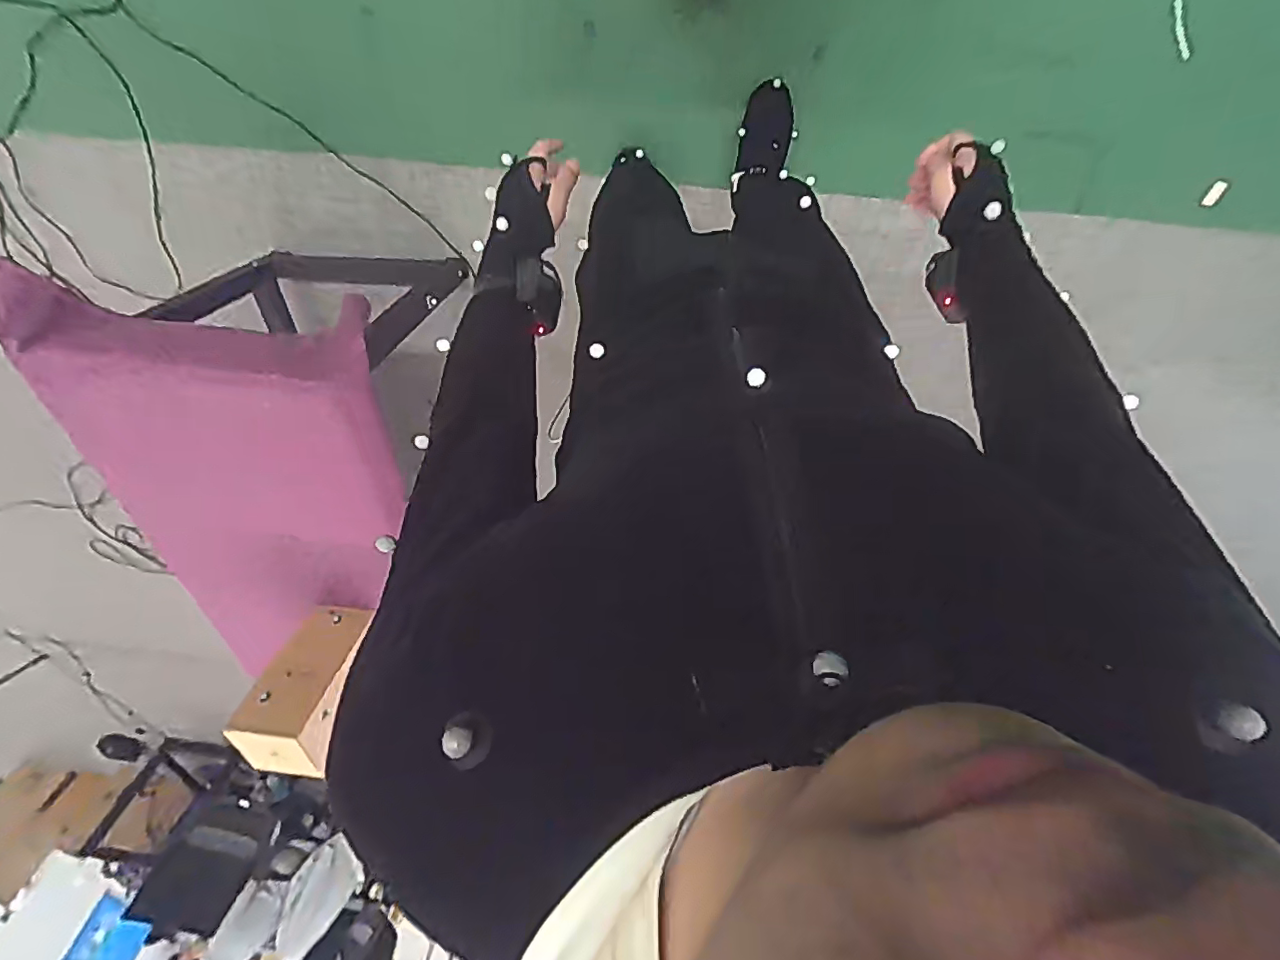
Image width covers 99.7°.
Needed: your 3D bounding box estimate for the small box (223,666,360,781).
[{"bbox_3d":[-0.763,0.538,1.207,0.168,0.176,0.179,6,128,4],"label":"small box"}]
